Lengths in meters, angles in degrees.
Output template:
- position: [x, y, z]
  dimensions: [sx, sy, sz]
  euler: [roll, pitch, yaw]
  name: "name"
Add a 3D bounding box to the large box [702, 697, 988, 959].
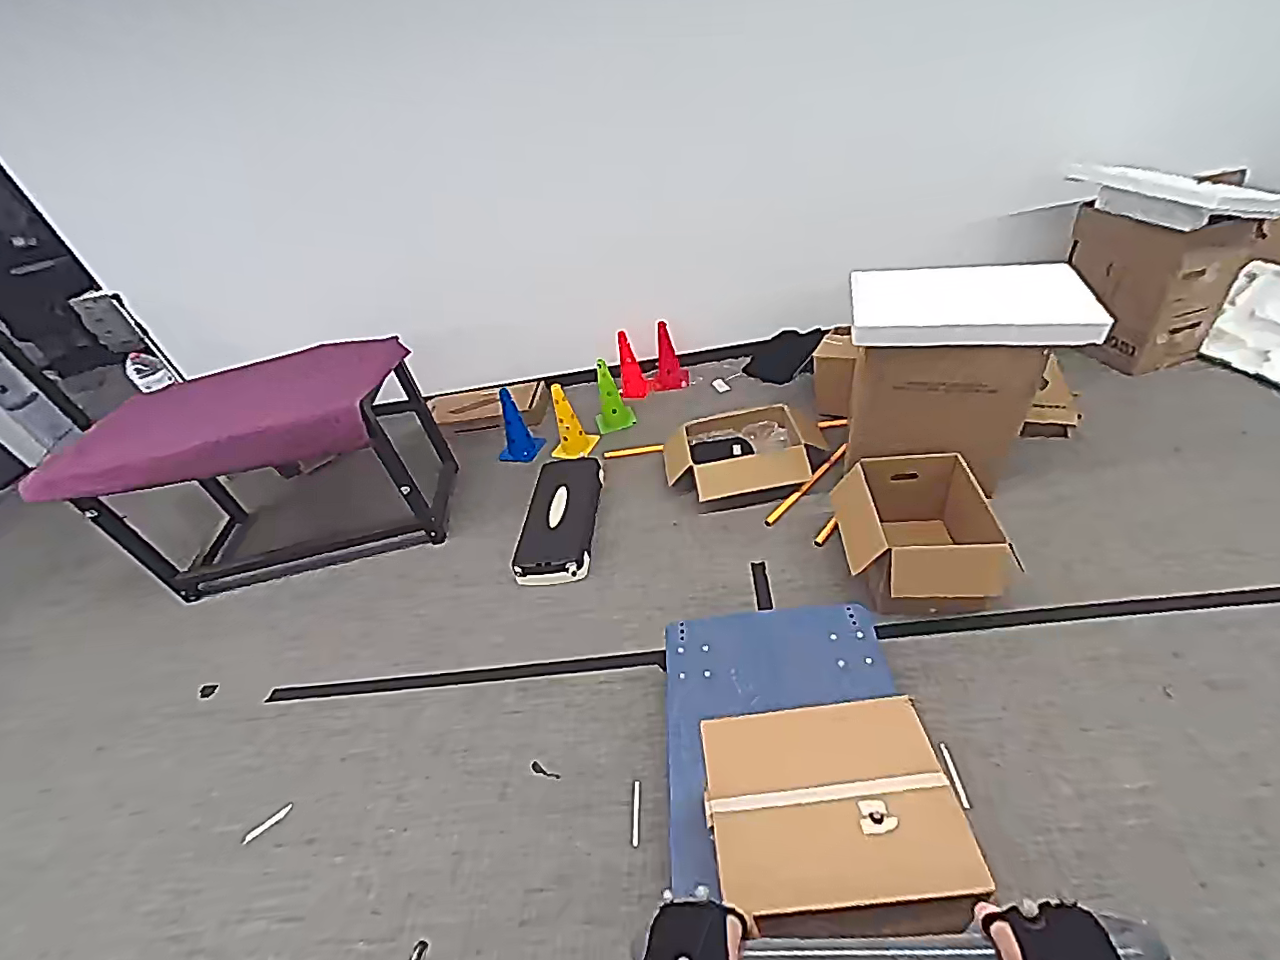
- position: [0.347, 0.662, 1.032]
  dimensions: [0.408, 0.320, 0.320]
  euler: [-9, 39, 4]
  name: "large box"
